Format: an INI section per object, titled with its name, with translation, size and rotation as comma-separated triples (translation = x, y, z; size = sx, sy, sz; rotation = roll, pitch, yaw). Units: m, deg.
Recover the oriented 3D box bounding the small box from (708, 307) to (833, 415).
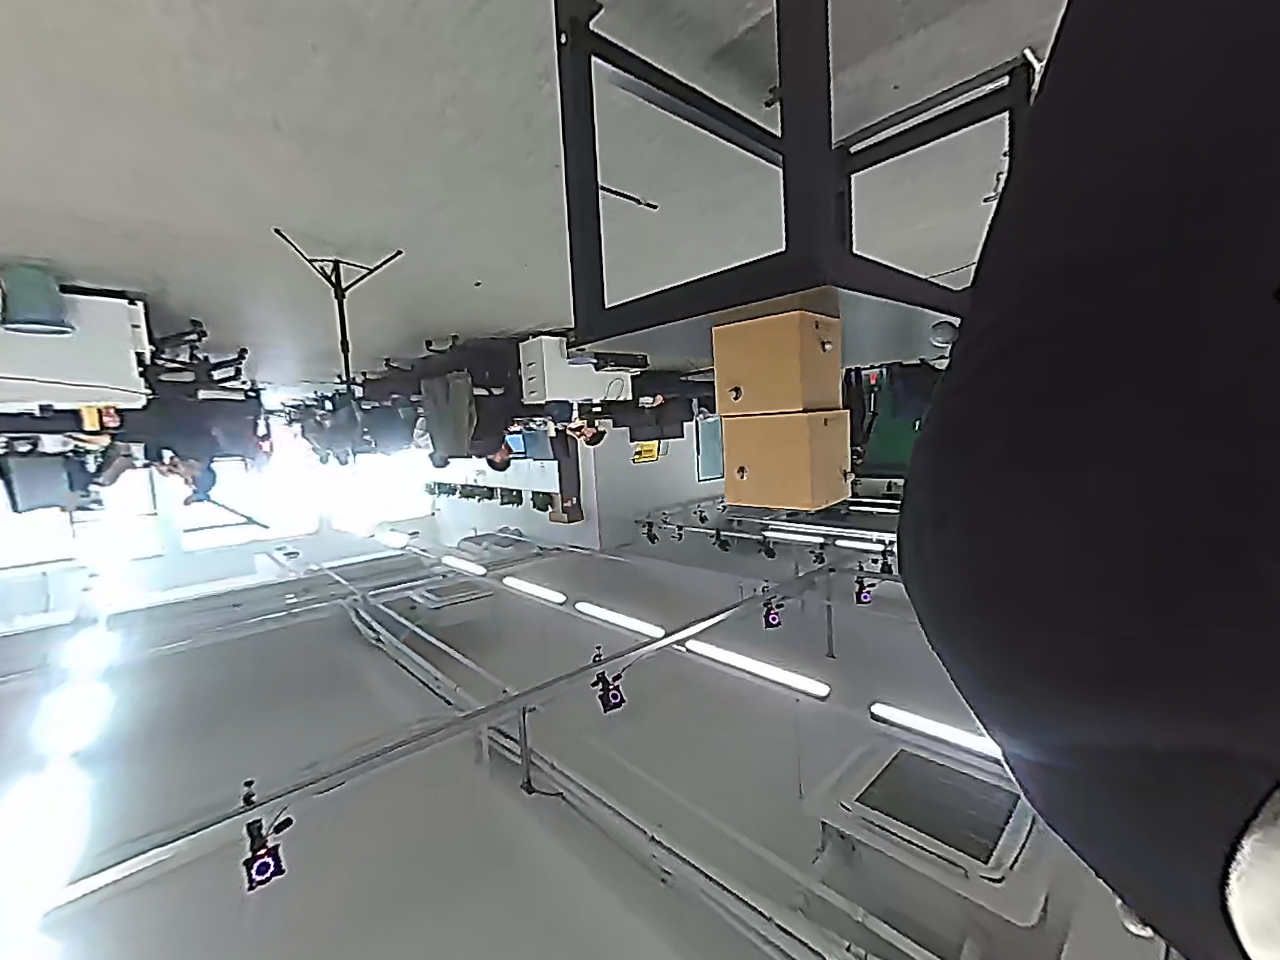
[small box]
translation = 0.240, -0.210, 0.991
size = 0.179, 0.176, 0.168
rotation = 2, -171, 42
